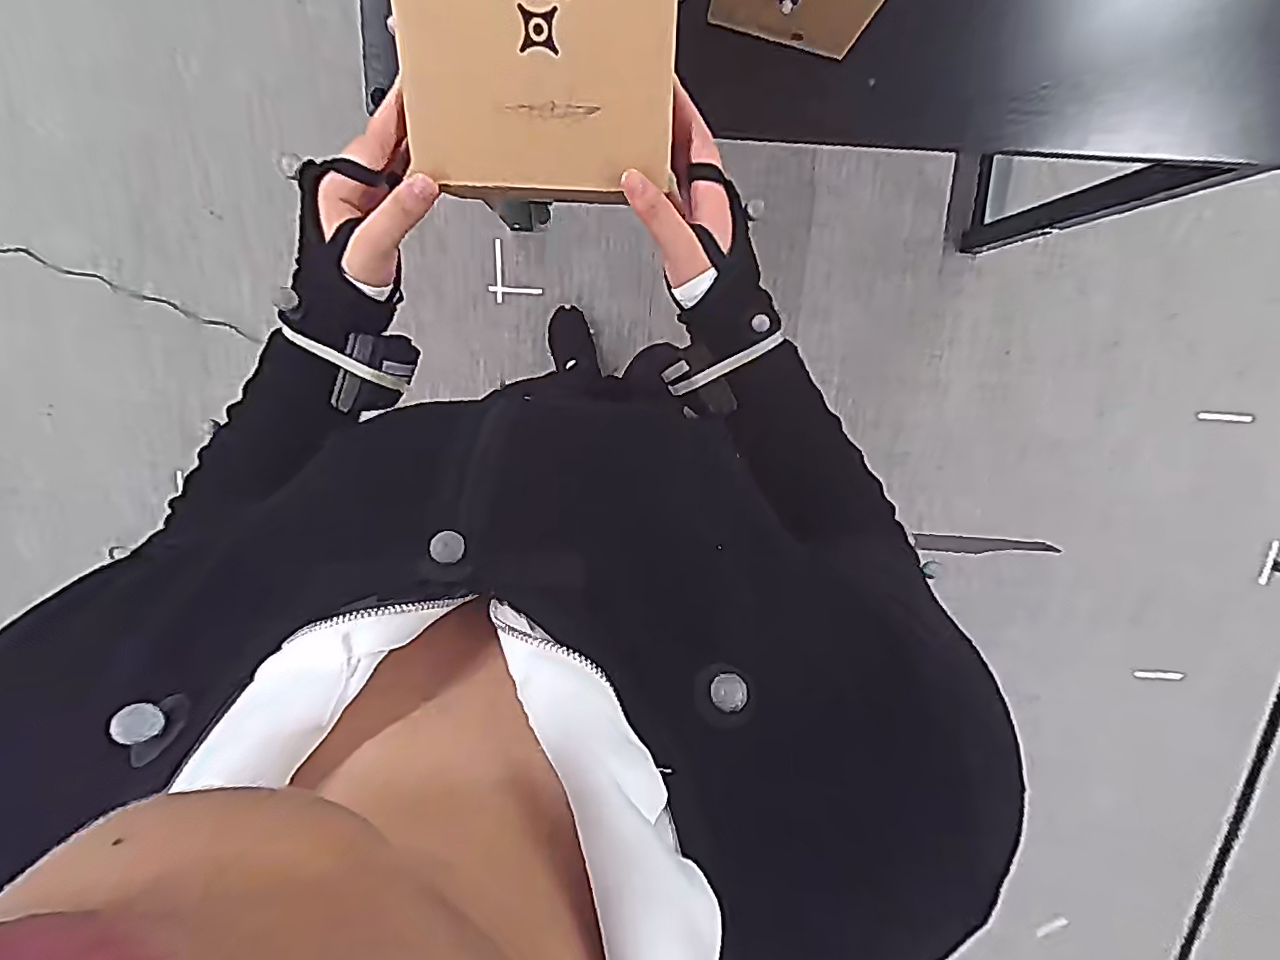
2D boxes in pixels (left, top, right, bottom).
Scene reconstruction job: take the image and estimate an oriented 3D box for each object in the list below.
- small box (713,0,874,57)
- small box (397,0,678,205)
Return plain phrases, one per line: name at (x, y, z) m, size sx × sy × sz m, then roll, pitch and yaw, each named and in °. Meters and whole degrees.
small box at (0.177, -0.575, 0.540) m, size 0.168 × 0.176 × 0.179 m, roll 13°, pitch 102°, yaw -5°
small box at (-0.066, -0.305, 0.390) m, size 0.168 × 0.176 × 0.179 m, roll 0°, pitch 114°, yaw -5°
